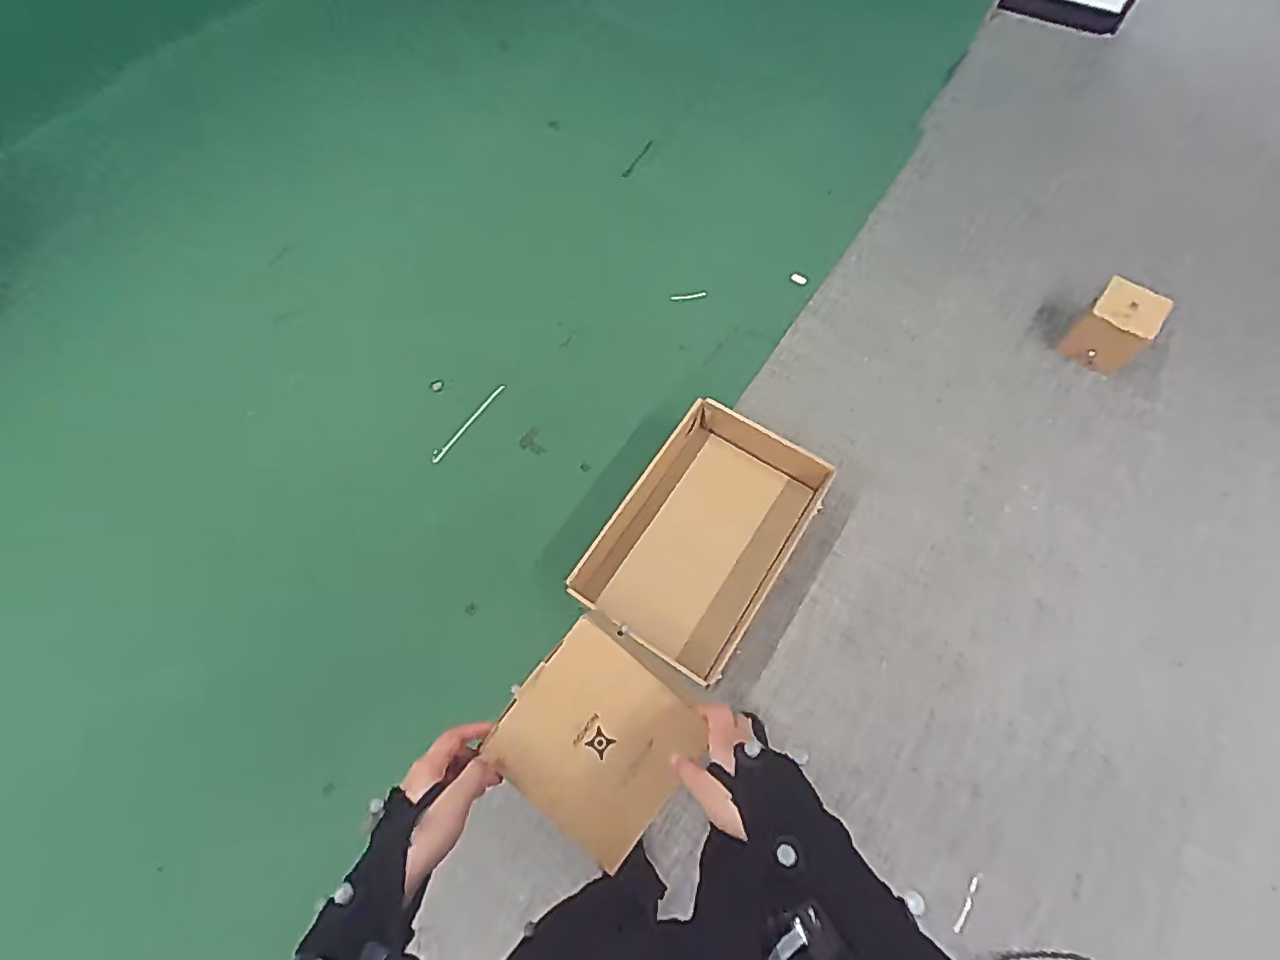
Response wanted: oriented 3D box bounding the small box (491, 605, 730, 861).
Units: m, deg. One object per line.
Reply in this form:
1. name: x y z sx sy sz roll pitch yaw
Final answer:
1. small box: -0.029 0.256 0.599 0.179 0.176 0.168 38 82 6

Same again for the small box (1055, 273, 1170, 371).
1. small box: 1.372 -0.459 1.583 0.168 0.176 0.179 36 73 17
